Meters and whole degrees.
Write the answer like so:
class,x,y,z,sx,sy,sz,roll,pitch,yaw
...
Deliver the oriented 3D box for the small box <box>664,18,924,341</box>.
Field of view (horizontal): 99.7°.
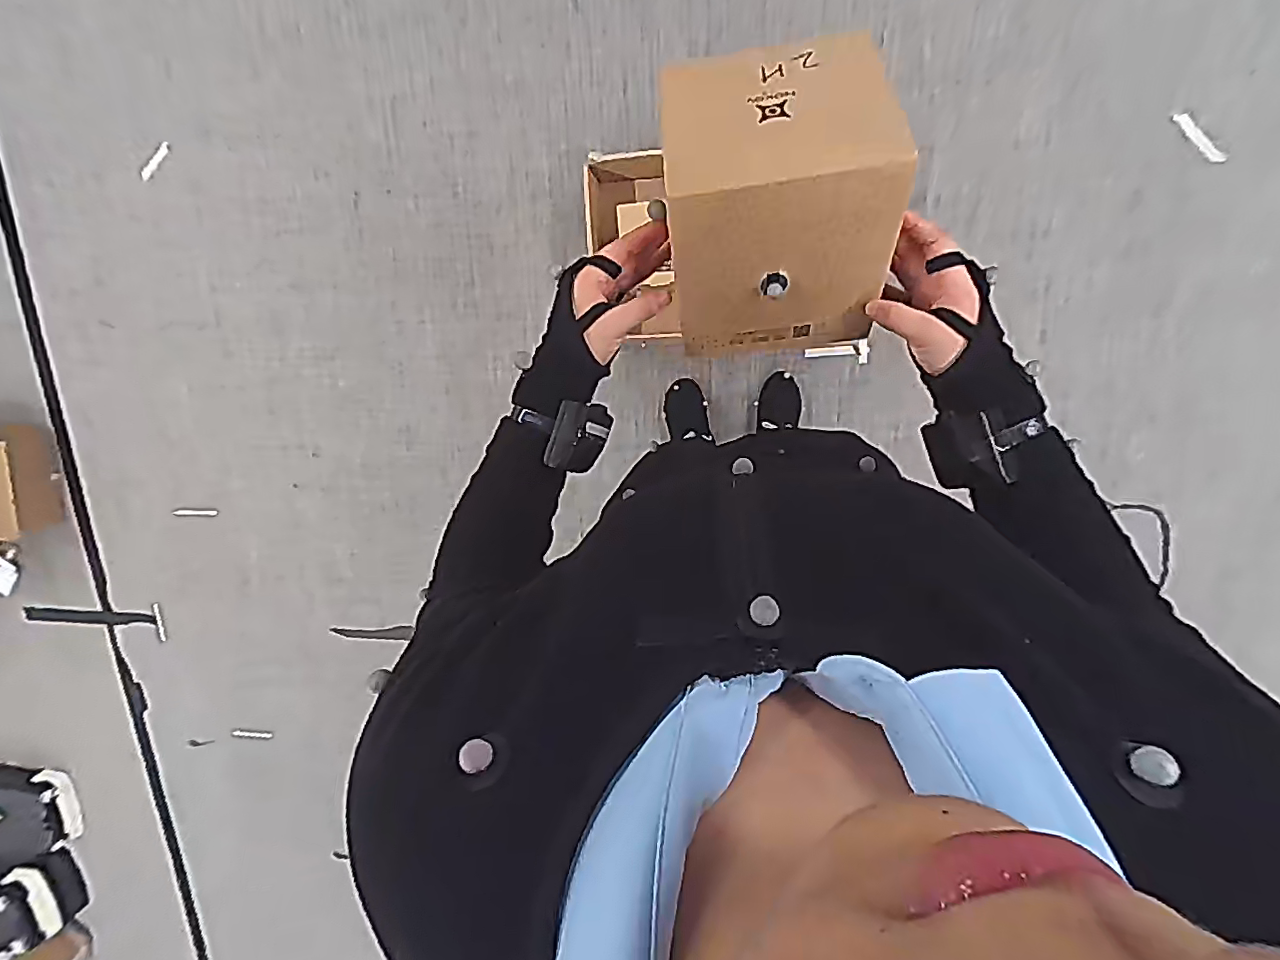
class,x,y,z,sx,sy,sz,roll,pitch,yaw
small box,0.112,-0.235,0.458,0.168,0.176,0.179,-4,63,7
